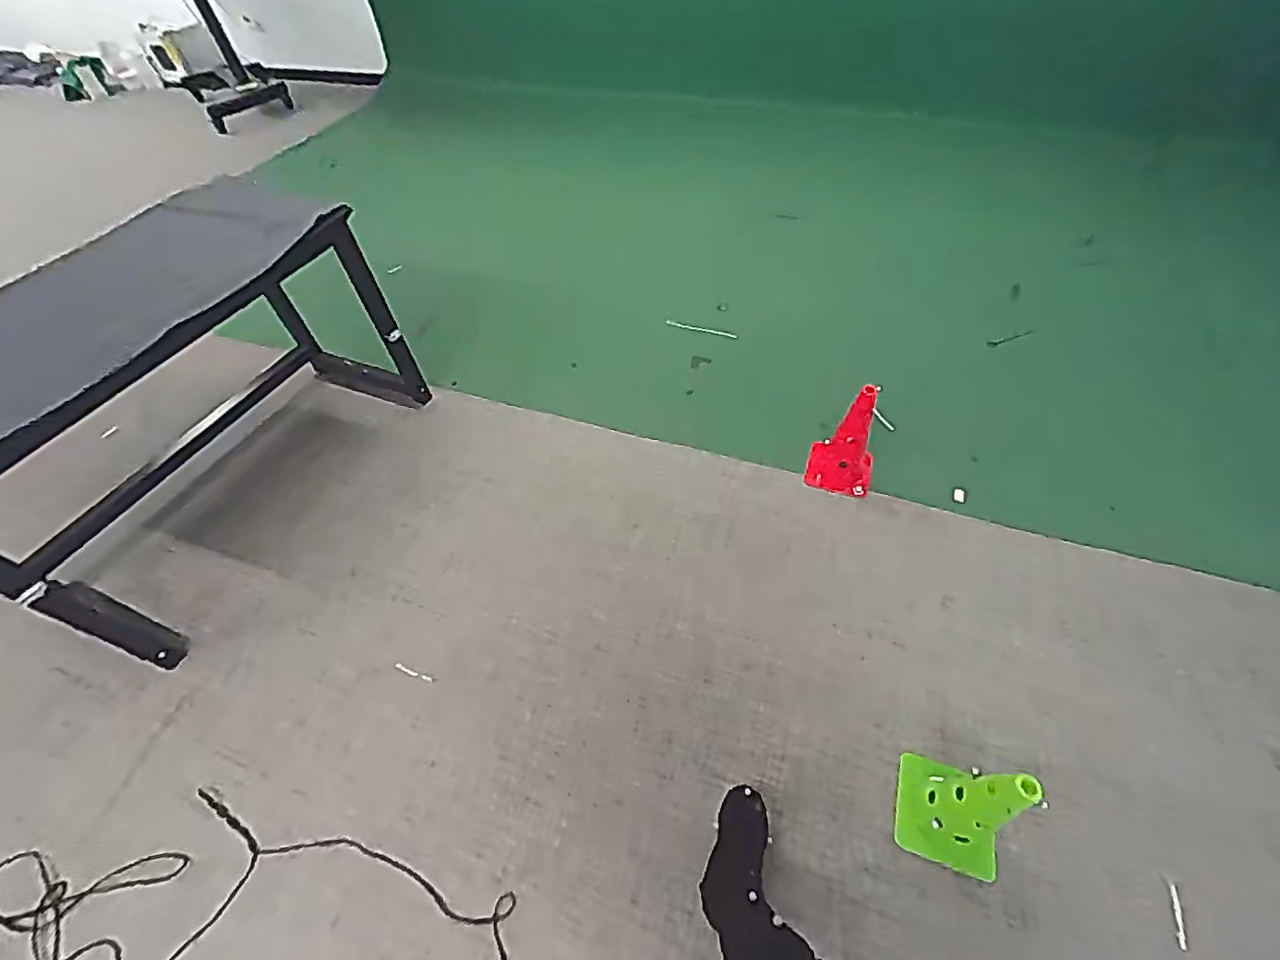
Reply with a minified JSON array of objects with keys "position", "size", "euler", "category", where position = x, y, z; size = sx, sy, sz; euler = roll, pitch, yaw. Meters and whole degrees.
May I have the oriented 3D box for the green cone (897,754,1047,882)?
[{"position":[0.663,0.627,1.044],"size":[0.200,0.368,0.202],"euler":[14,55,14],"category":"green cone"}]
